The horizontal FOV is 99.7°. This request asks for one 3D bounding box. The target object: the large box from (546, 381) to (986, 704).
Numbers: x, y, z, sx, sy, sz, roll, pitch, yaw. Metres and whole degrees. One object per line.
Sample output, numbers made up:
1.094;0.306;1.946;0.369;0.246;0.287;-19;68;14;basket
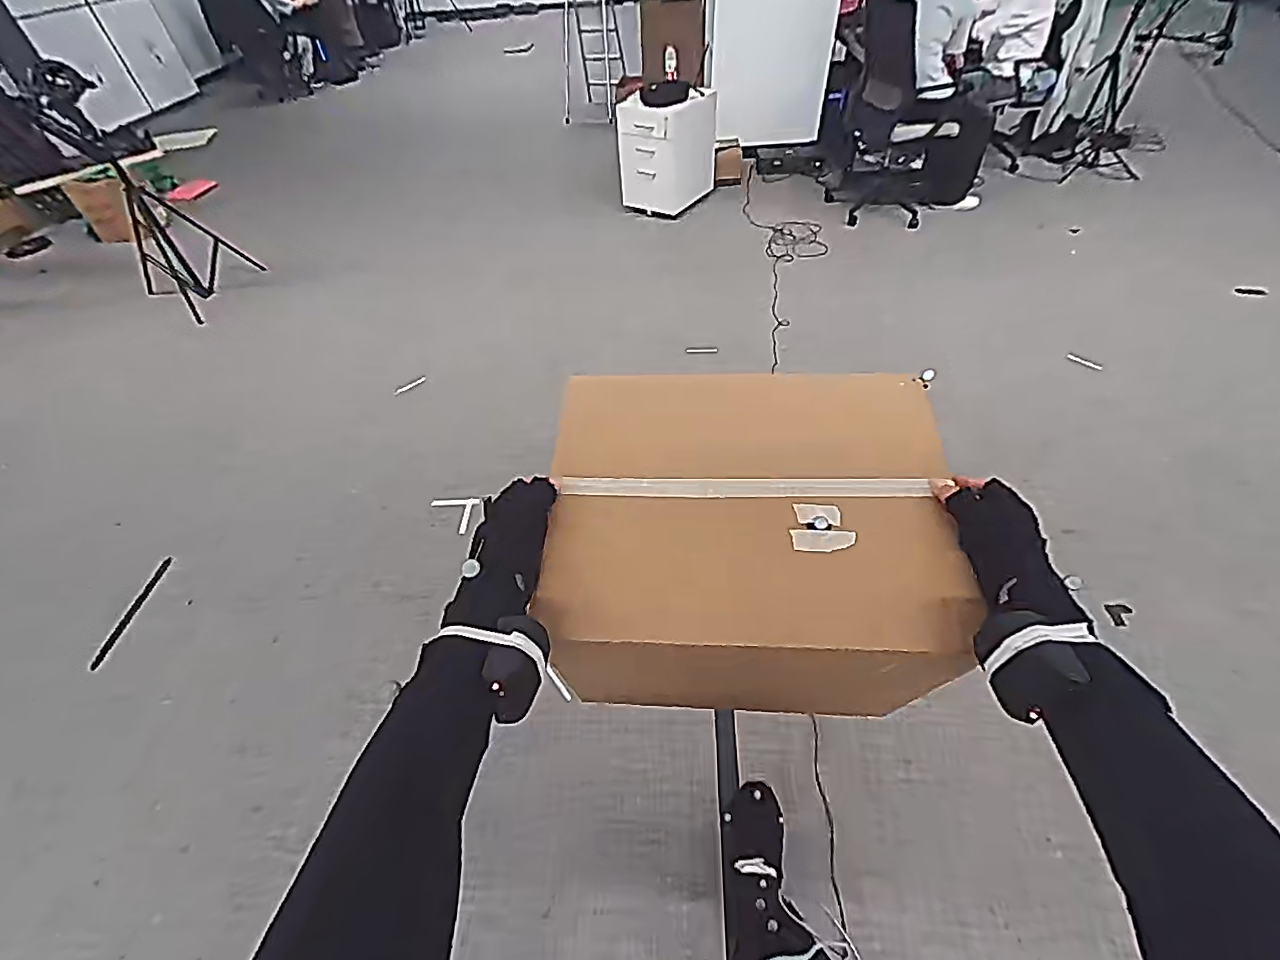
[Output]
0.121;0.094;0.690;0.408;0.320;0.320;0;58;4;large box
